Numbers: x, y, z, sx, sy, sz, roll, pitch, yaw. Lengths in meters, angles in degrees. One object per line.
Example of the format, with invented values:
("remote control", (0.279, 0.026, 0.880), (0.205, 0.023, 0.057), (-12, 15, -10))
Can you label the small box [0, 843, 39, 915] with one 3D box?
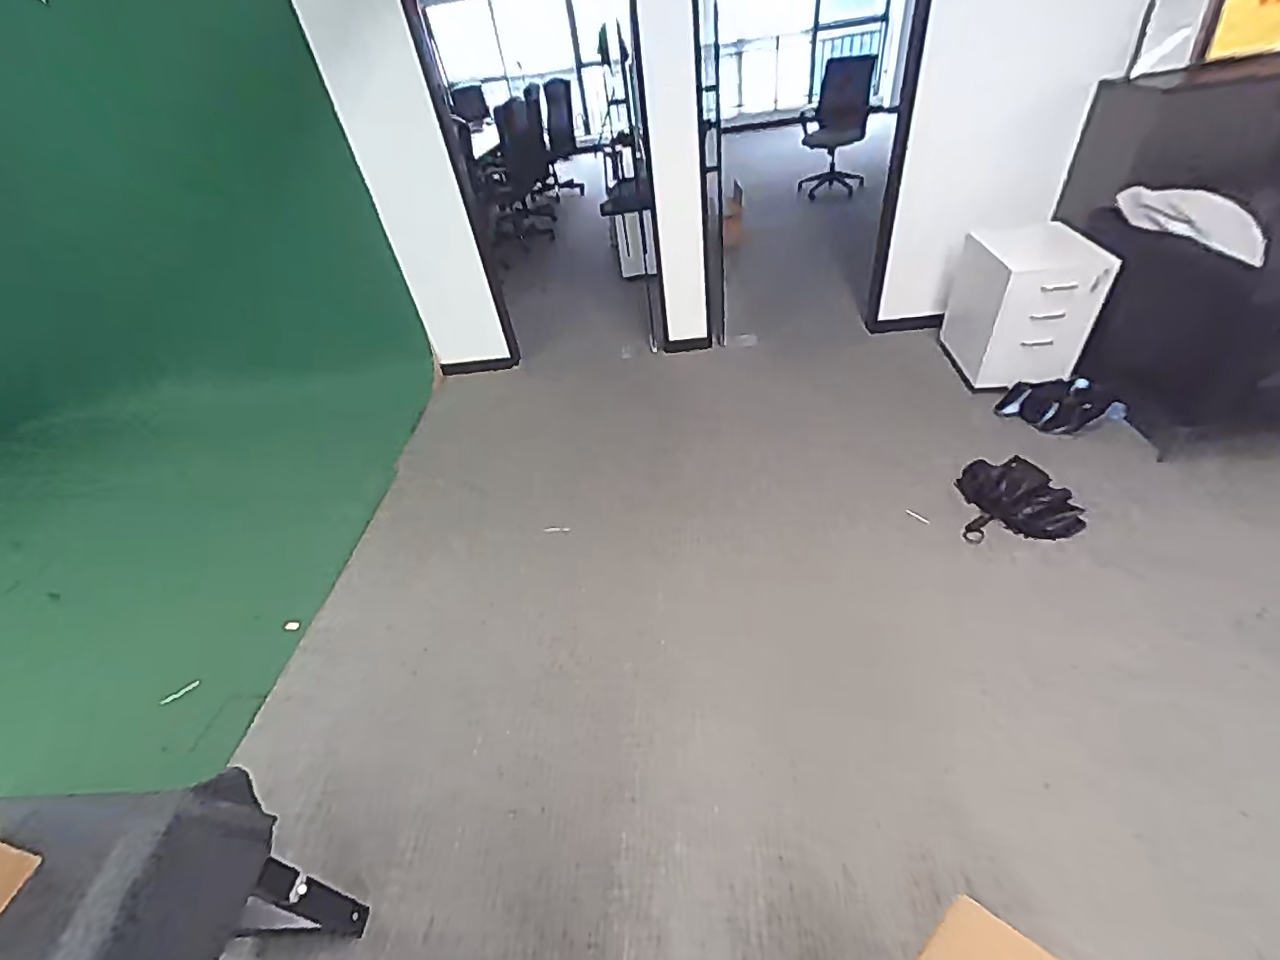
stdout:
("small box", (-0.984, 0.561, 0.705), (0.168, 0.176, 0.179), (0, 41, 10))
